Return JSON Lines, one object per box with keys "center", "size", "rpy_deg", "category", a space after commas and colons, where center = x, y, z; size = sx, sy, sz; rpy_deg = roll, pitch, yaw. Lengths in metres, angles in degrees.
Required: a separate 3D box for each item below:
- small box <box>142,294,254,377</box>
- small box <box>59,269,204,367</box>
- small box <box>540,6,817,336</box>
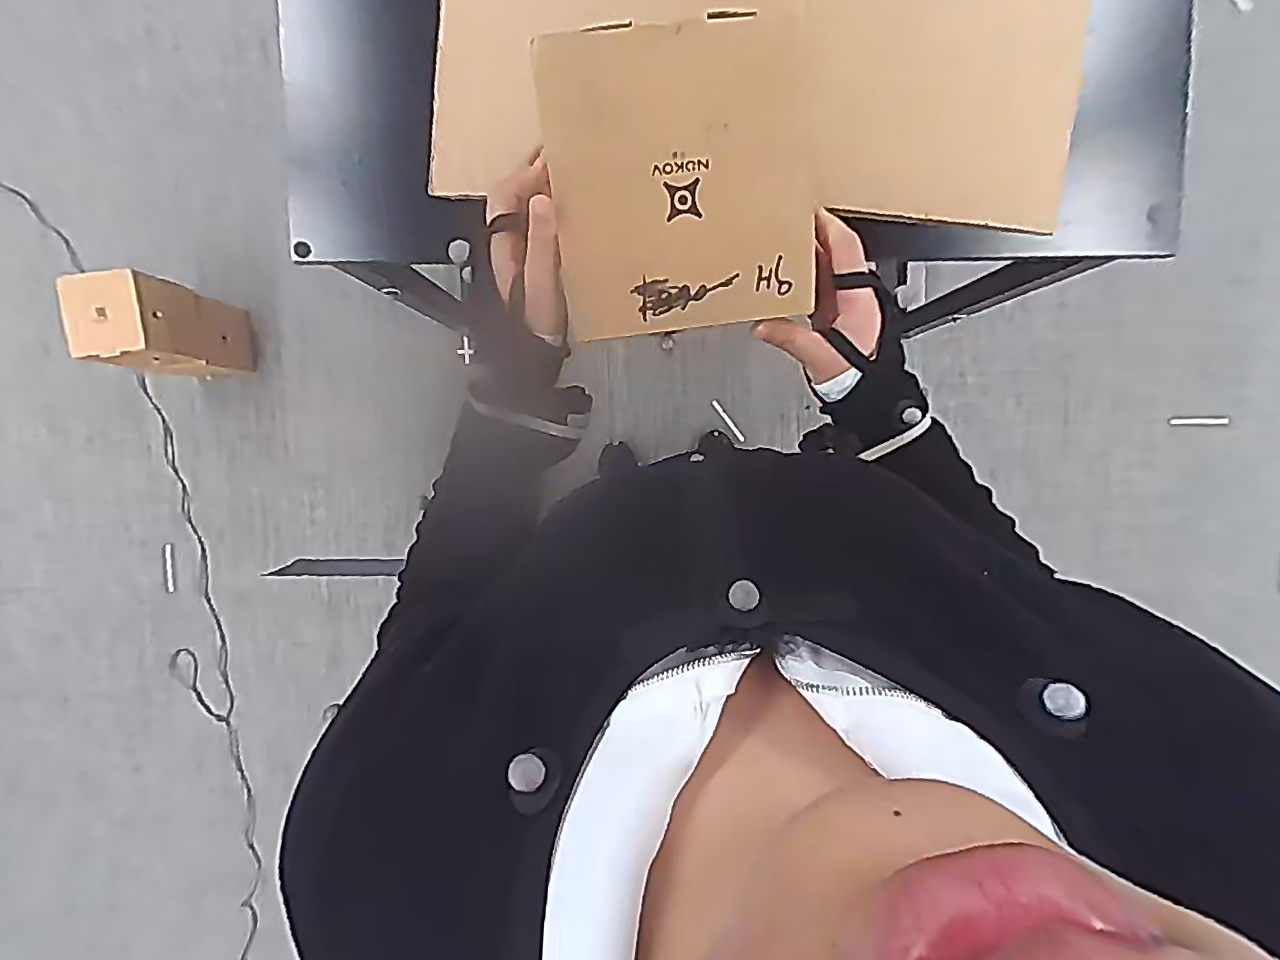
{"center": [-1.142, -0.367, 1.396], "size": [0.168, 0.176, 0.179], "rpy_deg": [-4, 95, 1], "category": "small box"}
{"center": [-1.146, -0.360, 1.234], "size": [0.168, 0.176, 0.179], "rpy_deg": [-7, 93, 0], "category": "small box"}
{"center": [0.024, -0.207, 0.413], "size": [0.168, 0.176, 0.179], "rpy_deg": [-7, 106, -1], "category": "small box"}
